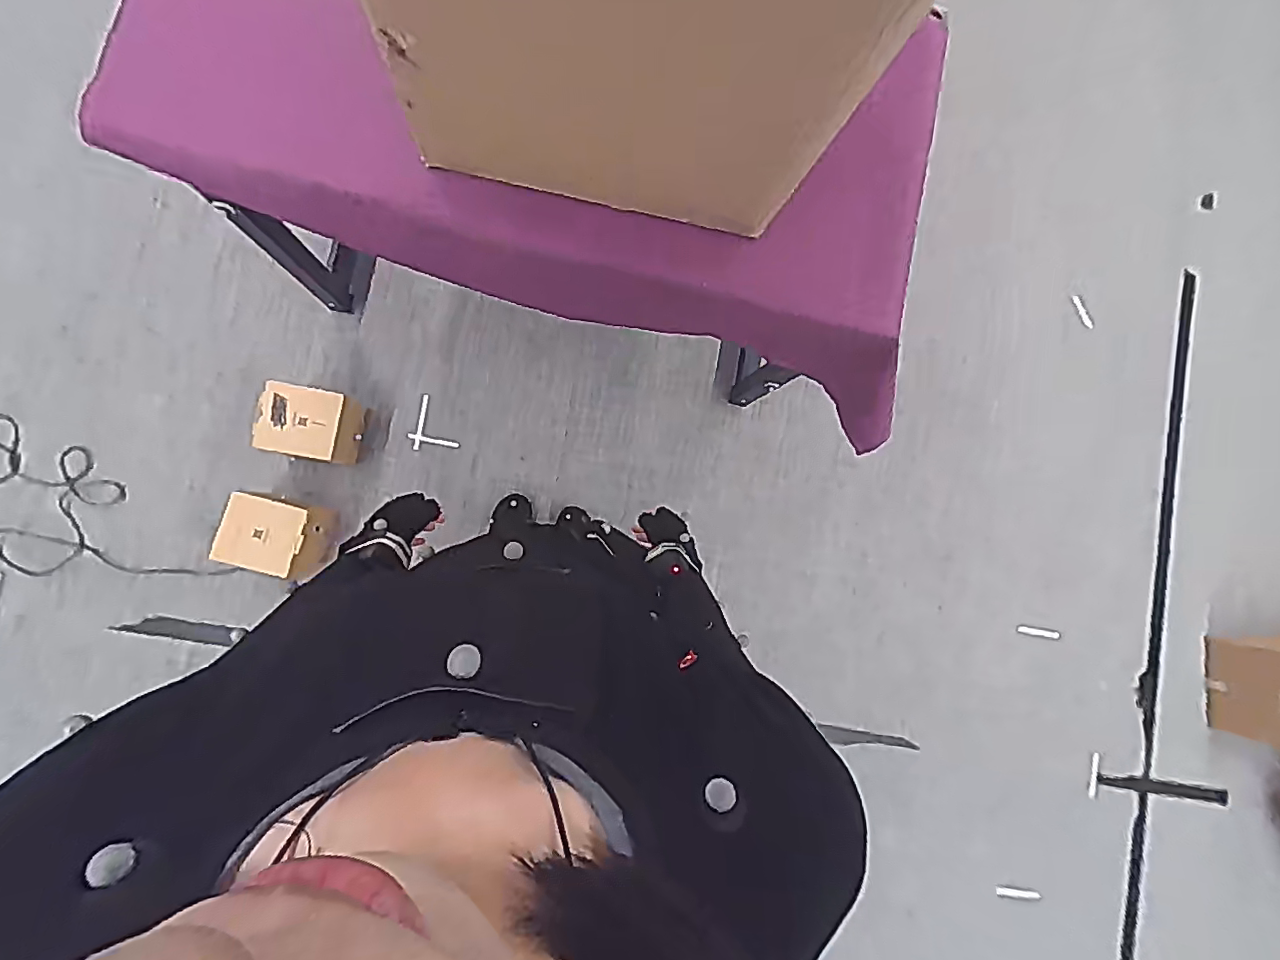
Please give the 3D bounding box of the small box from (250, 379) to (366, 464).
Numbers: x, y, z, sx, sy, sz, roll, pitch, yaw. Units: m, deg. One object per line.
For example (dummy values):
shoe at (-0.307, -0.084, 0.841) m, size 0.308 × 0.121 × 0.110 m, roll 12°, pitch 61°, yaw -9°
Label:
small box at (-0.814, -0.136, 1.343) m, size 0.179 × 0.176 × 0.168 m, roll 10°, pitch 85°, yaw -9°

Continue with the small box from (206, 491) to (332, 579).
small box at (-0.890, 0.131, 1.318) m, size 0.179 × 0.176 × 0.168 m, roll 17°, pitch 83°, yaw -7°
